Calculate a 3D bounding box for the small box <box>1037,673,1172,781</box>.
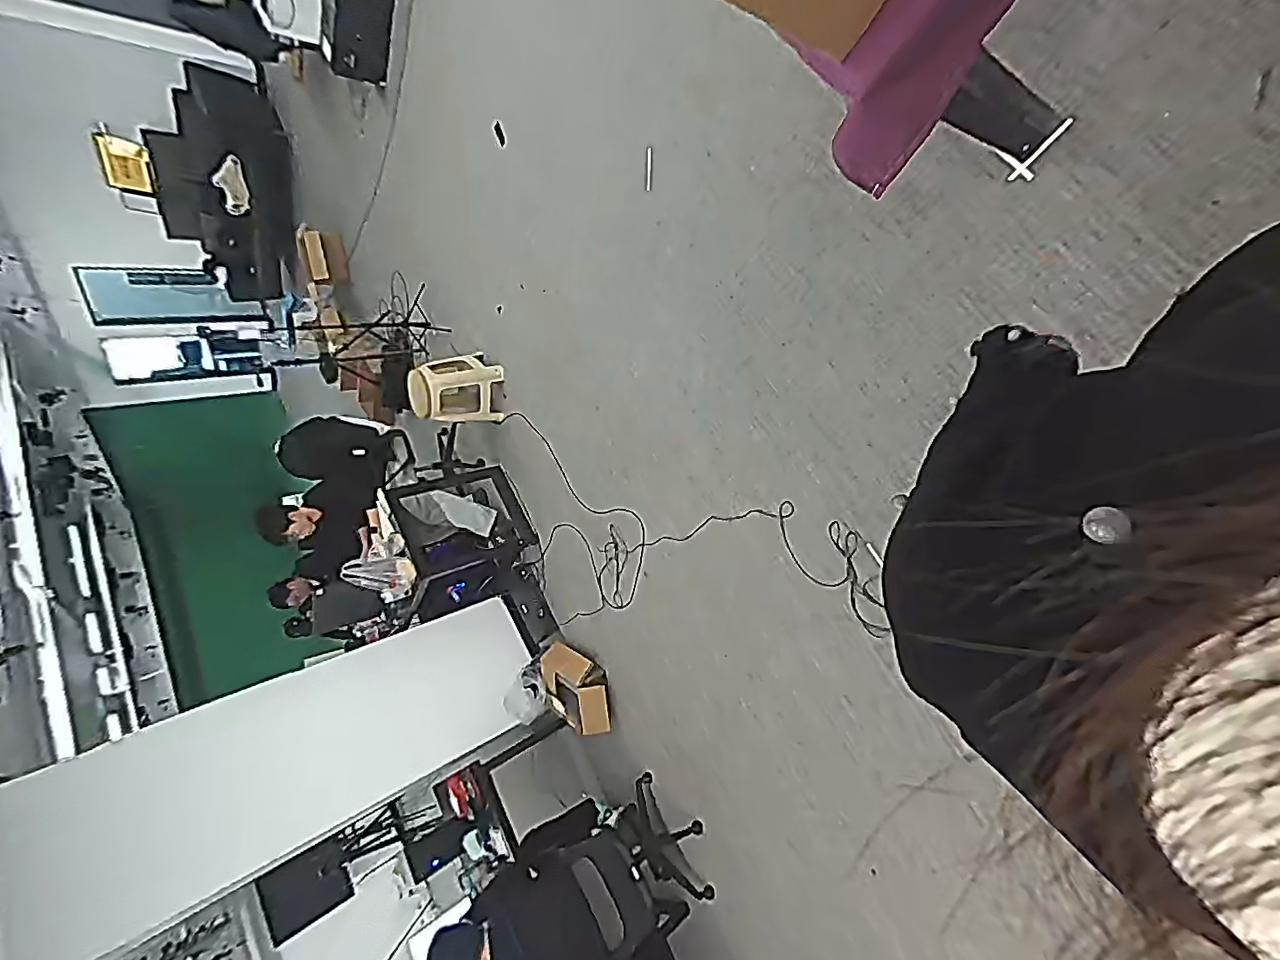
[{"bbox_3d":[1.065,0.561,1.236,0.179,0.176,0.168,-41,72,49],"label":"small box"}]
